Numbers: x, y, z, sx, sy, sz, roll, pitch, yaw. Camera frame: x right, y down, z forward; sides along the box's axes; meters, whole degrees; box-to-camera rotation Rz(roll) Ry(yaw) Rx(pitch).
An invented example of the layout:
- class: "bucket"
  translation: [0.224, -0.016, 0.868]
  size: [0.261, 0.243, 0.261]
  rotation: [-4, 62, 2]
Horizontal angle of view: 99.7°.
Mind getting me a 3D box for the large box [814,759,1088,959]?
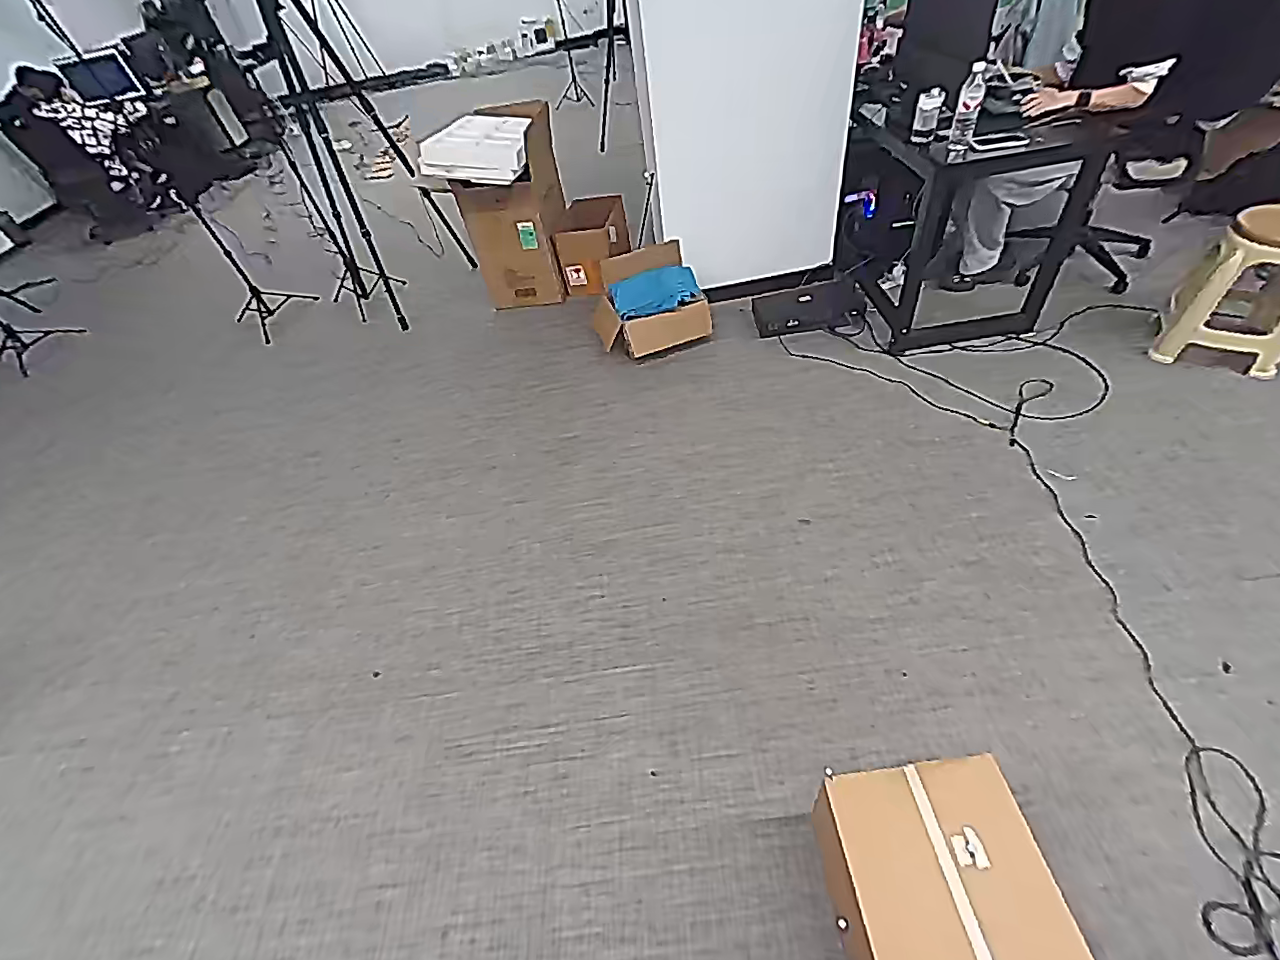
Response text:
- class: "large box"
  translation: [0.535, 0.786, 0.981]
  size: [0.320, 0.320, 0.408]
  rotation: [-8, 45, 2]
